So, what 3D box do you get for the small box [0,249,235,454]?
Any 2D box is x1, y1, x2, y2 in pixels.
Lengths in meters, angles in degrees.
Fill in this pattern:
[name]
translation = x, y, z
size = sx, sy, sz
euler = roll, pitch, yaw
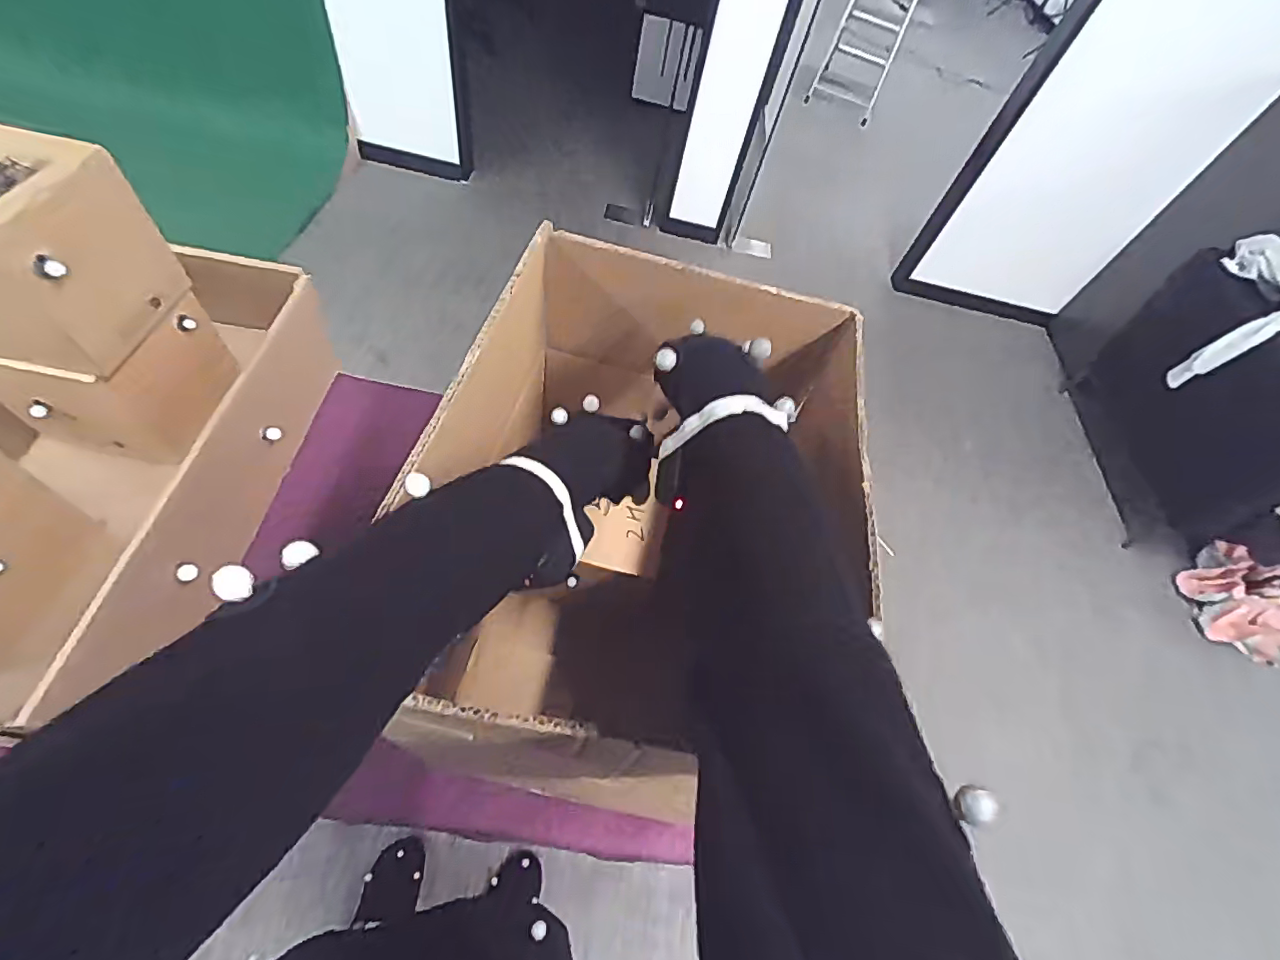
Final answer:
[small box]
translation = -0.675, -0.157, 0.695
size = 0.168, 0.176, 0.179
euler = 11, 57, -4
